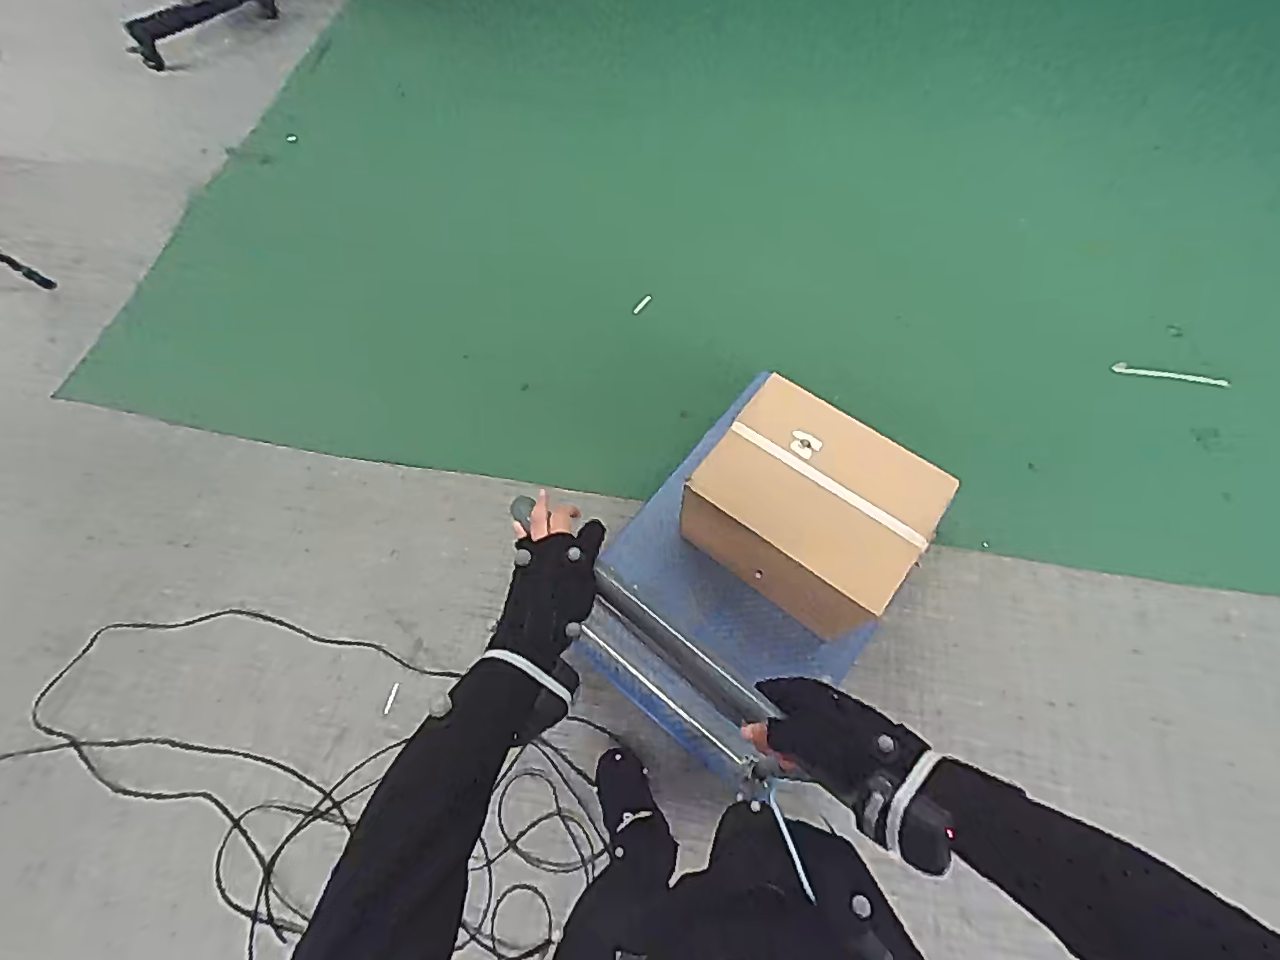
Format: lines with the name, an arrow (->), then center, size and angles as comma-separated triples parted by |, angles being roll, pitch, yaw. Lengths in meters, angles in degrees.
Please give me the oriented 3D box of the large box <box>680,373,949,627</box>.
large box -> 0.335, 0.055, 1.149 | 0.408, 0.320, 0.320 | 35, 72, 16
